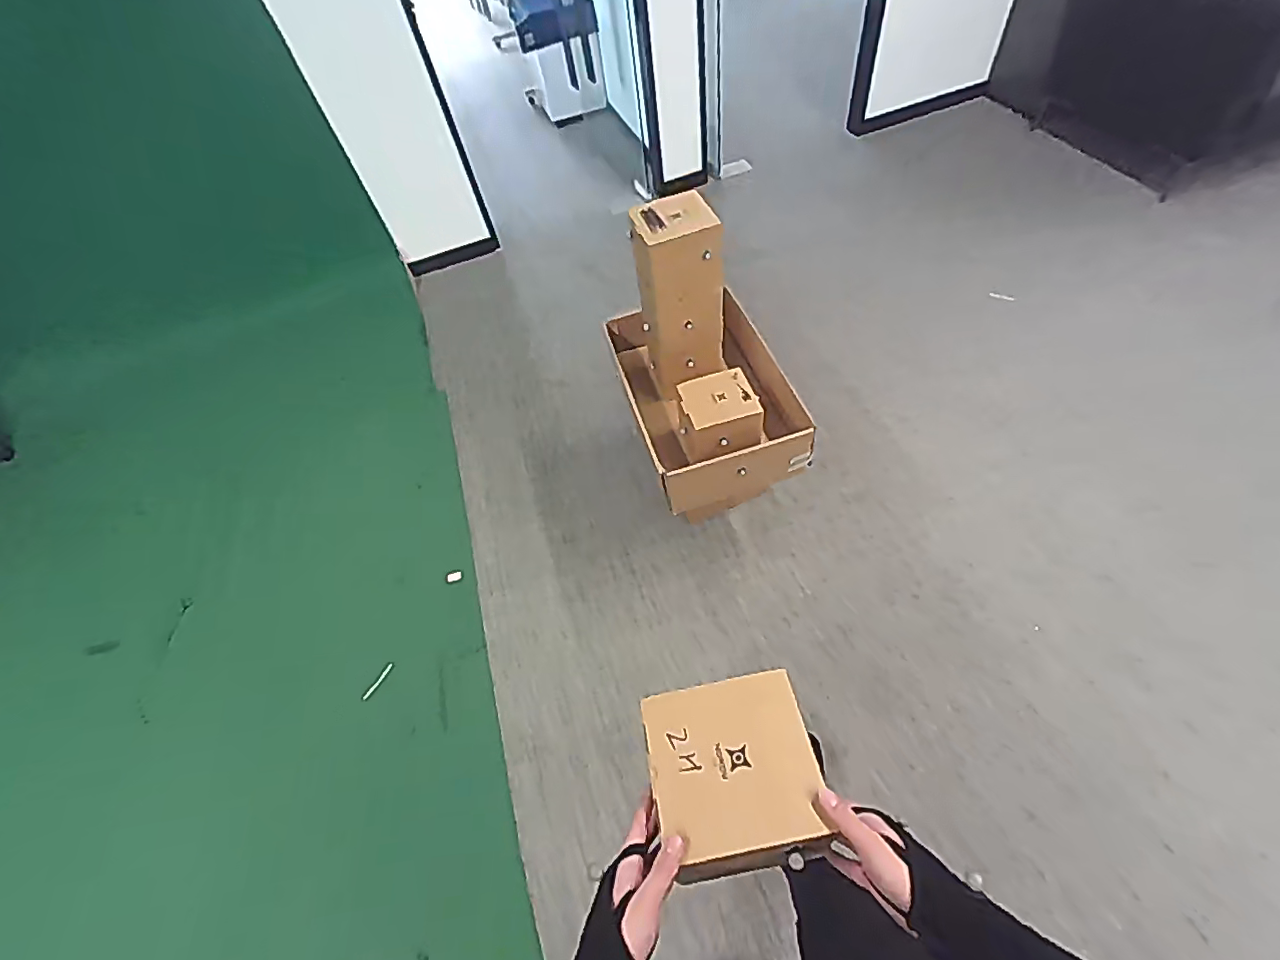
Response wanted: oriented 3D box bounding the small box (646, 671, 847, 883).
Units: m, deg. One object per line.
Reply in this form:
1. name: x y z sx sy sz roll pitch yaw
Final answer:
1. small box: 0.114 0.348 0.628 0.179 0.176 0.168 -13 48 1

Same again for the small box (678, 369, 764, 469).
1. small box: 0.208 -0.150 1.390 0.179 0.176 0.168 -16 54 -2

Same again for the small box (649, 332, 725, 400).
1. small box: 0.133 -0.358 1.549 0.179 0.176 0.168 -18 55 -2

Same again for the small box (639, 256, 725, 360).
1. small box: 0.112 -0.446 1.412 0.179 0.176 0.168 -19 55 -3
